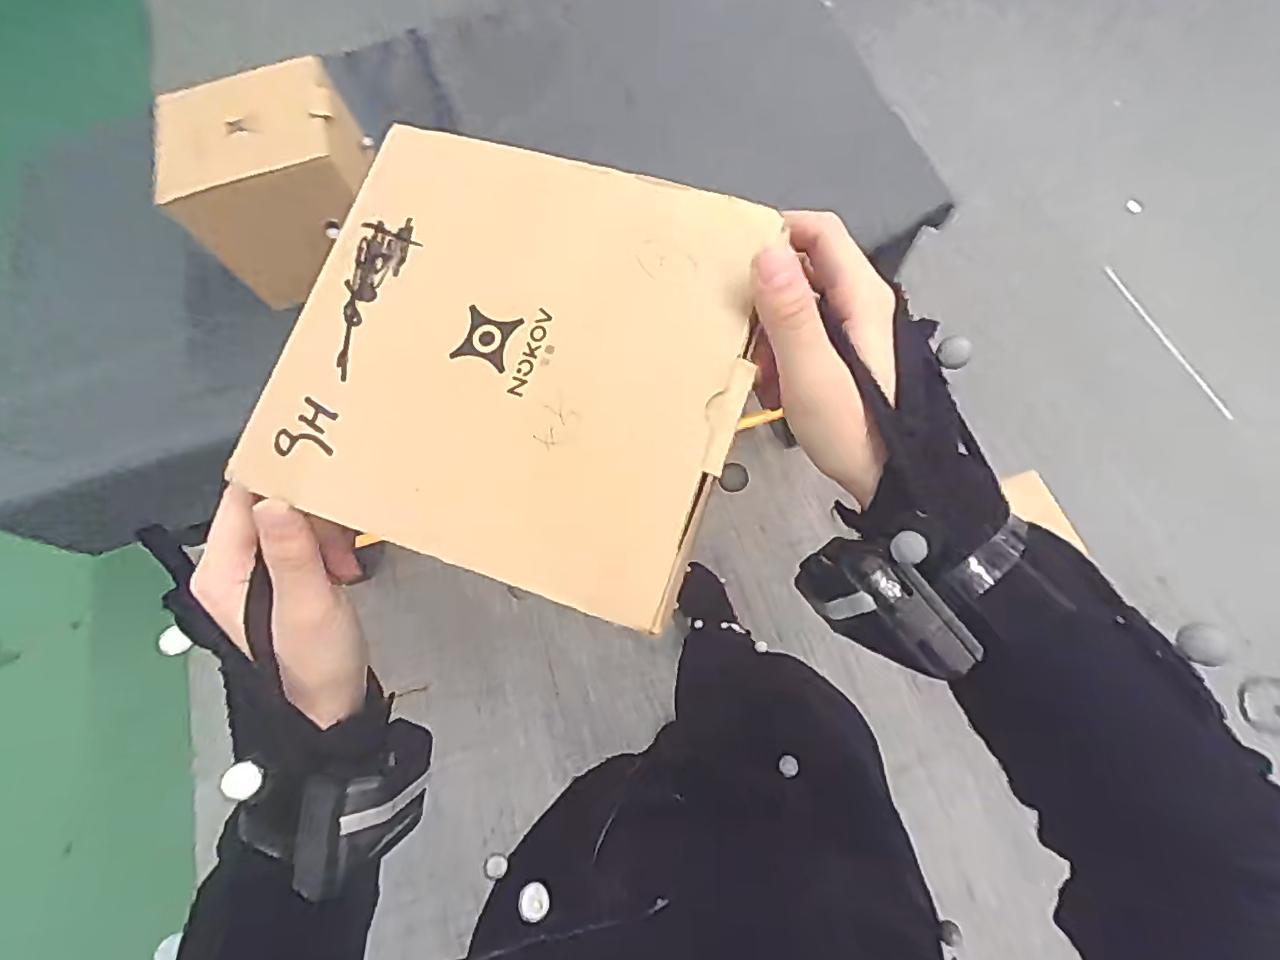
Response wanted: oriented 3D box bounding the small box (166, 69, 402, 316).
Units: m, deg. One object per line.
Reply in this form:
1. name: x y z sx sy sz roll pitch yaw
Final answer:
1. small box: -0.403 -0.328 0.640 0.179 0.176 0.168 -19 68 -2

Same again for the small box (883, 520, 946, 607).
1. small box: 0.658 0.162 1.153 0.179 0.176 0.168 -18 69 -2

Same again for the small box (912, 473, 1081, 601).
1. small box: 0.634 0.113 0.997 0.179 0.176 0.168 -19 70 -3
